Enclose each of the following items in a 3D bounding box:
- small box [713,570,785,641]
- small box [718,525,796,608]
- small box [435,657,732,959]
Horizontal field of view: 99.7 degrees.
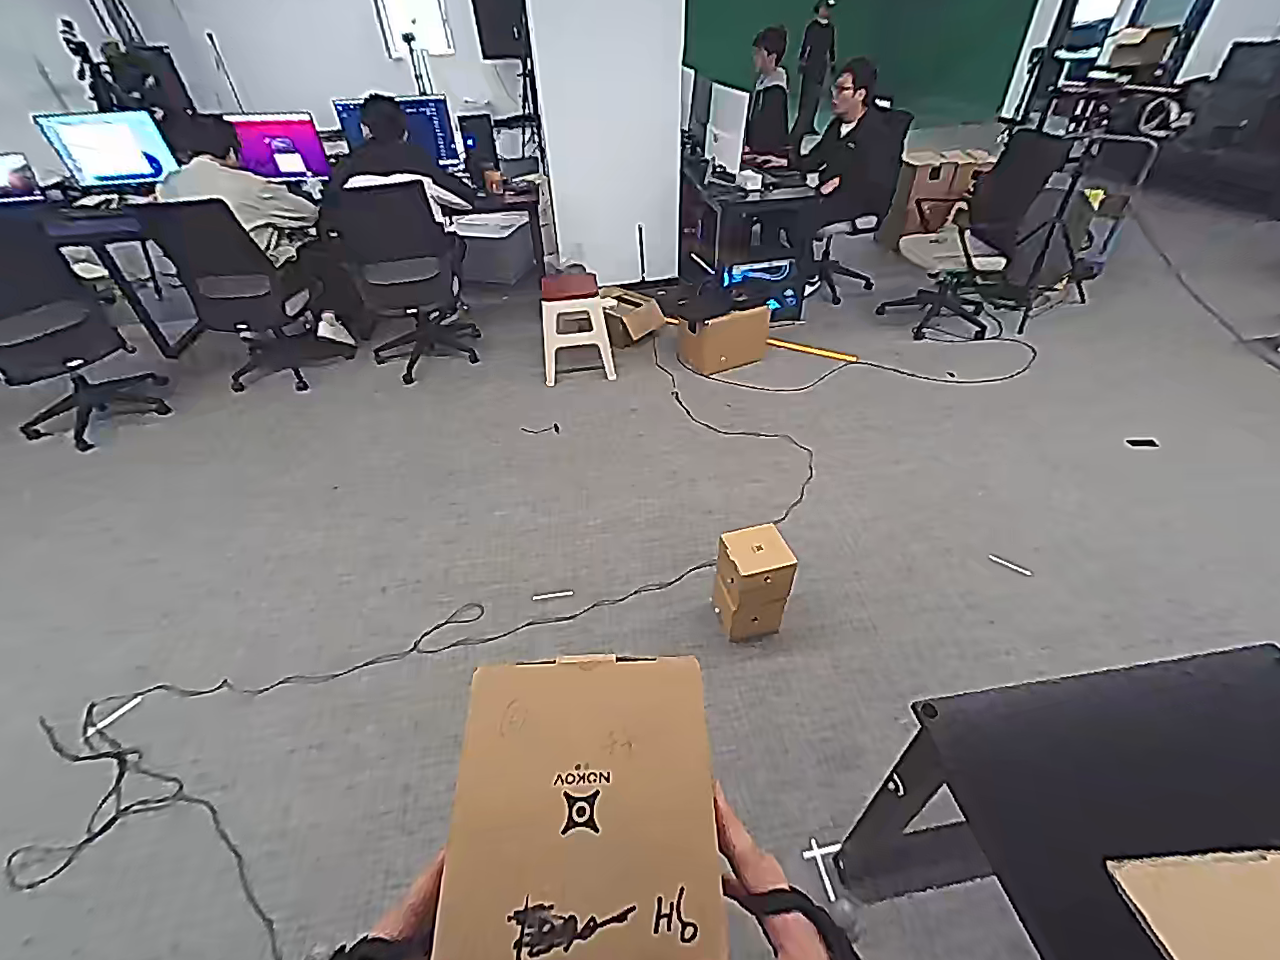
[{"bbox_3d":[0.343,0.388,1.733,0.179,0.176,0.168,-10,41,-8],"label":"small box"},{"bbox_3d":[0.343,0.264,1.629,0.179,0.176,0.168,-11,42,-11],"label":"small box"},{"bbox_3d":[-0.031,0.250,0.407,0.168,0.176,0.179,-3,52,0],"label":"small box"}]
